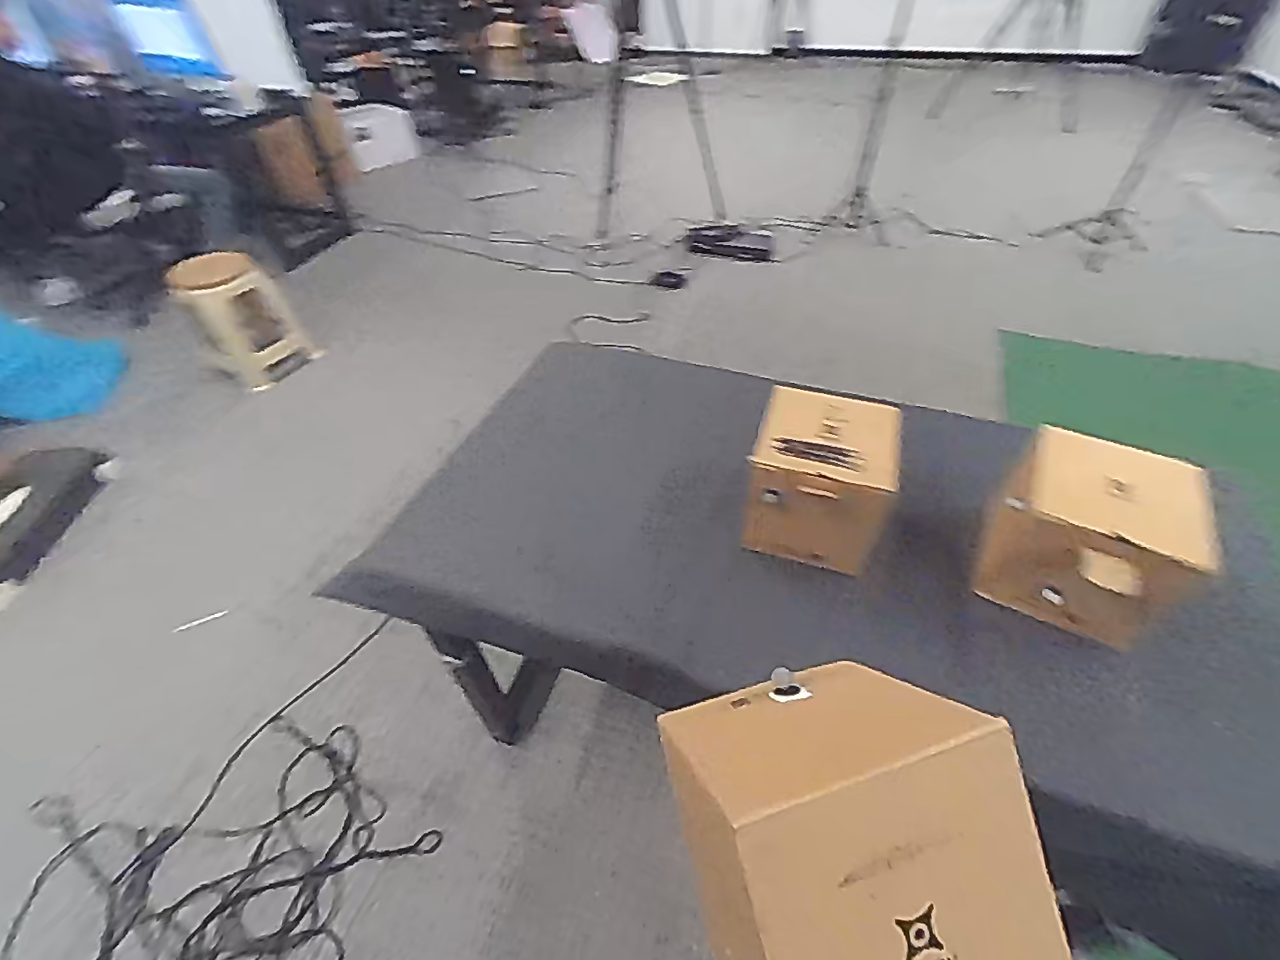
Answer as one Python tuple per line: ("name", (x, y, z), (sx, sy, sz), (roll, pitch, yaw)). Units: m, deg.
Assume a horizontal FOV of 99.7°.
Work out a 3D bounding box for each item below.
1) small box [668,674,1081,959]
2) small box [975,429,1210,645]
("small box", (0.129, 0.247, 0.346), (0.168, 0.176, 0.179), (-12, 85, -13))
("small box", (0.552, 0.070, 0.684), (0.168, 0.176, 0.179), (22, 50, 22))
